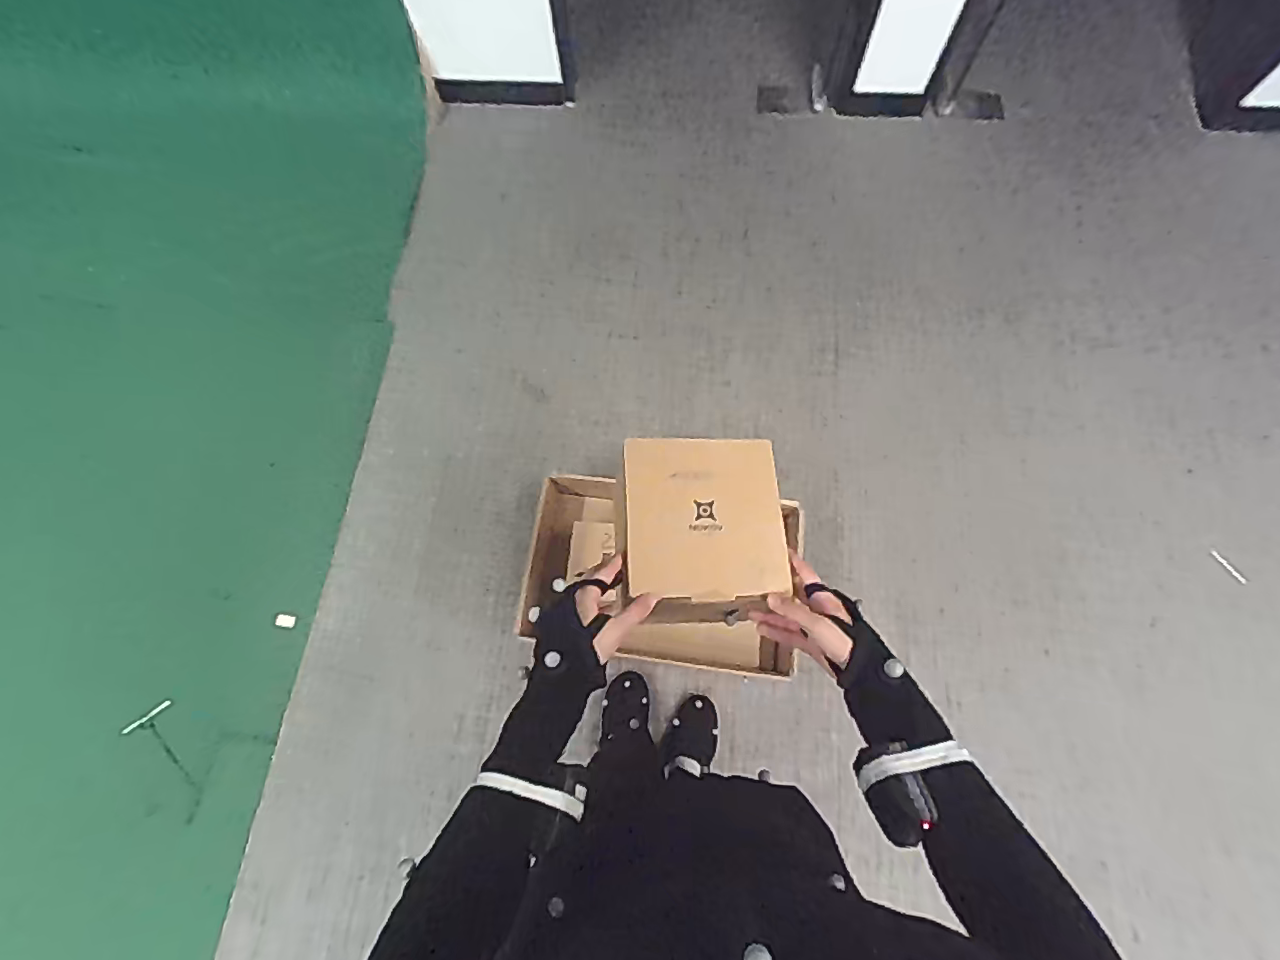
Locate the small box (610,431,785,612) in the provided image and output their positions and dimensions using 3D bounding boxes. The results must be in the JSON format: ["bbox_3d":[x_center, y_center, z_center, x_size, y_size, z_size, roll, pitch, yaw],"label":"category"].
[{"bbox_3d":[0.053,0.057,0.629,0.168,0.176,0.179,0,68,-7],"label":"small box"}]

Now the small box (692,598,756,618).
[{"bbox_3d":[0.182,0.220,1.265,0.168,0.176,0.179,7,73,6],"label":"small box"}]
